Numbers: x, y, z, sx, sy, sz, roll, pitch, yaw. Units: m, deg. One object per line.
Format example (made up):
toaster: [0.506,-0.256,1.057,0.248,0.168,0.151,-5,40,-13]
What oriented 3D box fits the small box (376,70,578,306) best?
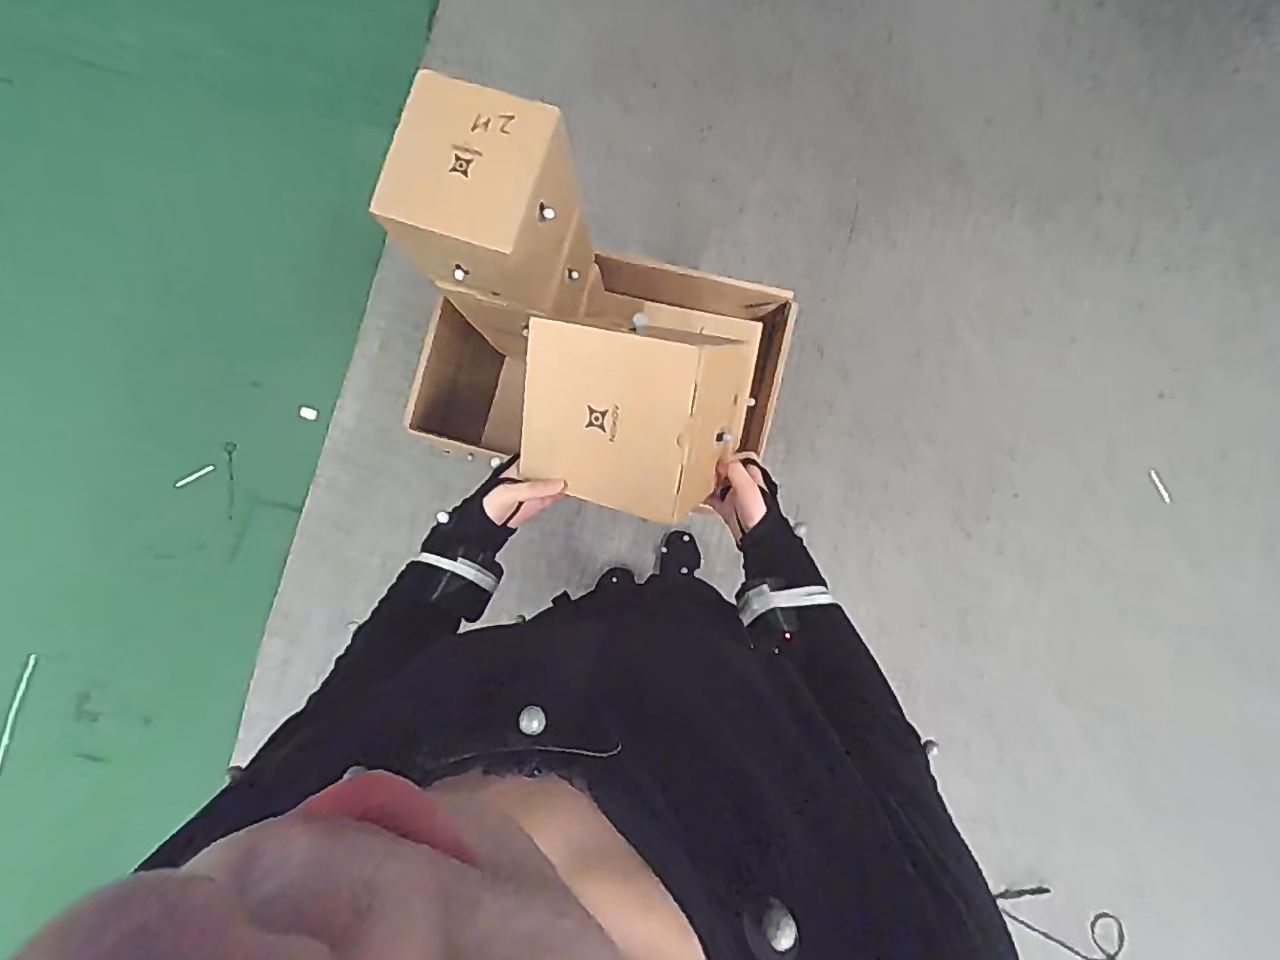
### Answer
small box: [-0.185,-0.343,0.670,0.168,0.176,0.179,19,87,1]

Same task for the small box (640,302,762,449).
small box: [0.073,-0.139,0.809,0.168,0.176,0.179,12,86,3]

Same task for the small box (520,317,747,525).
small box: [-0.002,-0.074,0.577,0.179,0.176,0.168,16,110,19]

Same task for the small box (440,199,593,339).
small box: [-0.176,-0.325,0.833,0.168,0.176,0.179,17,86,2]
